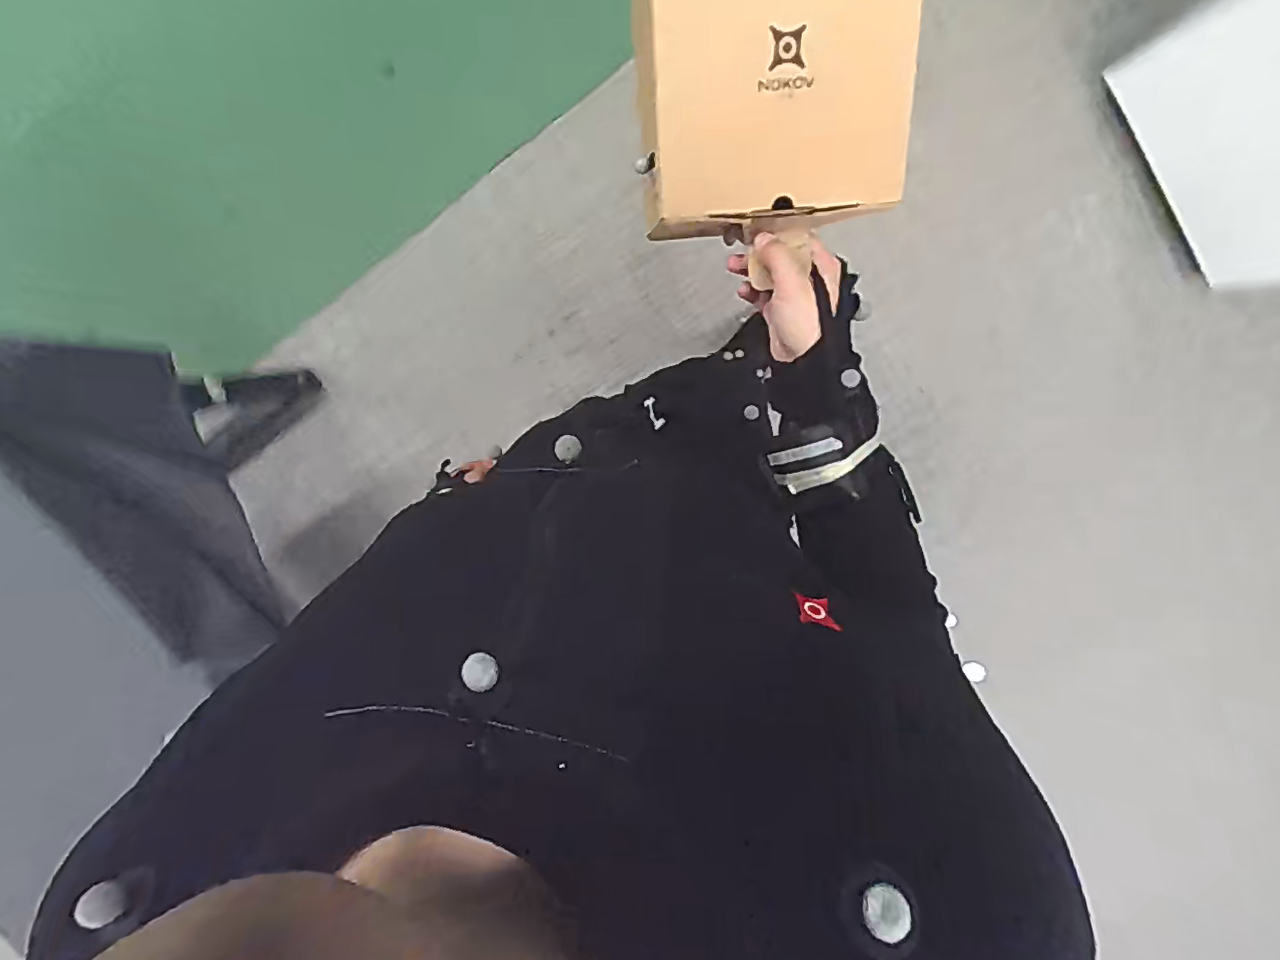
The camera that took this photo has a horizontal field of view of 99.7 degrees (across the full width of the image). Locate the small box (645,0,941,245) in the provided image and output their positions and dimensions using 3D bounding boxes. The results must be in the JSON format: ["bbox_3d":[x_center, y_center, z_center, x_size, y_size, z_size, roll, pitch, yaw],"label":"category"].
[{"bbox_3d":[0.095,-0.281,0.408,0.168,0.176,0.179,-5,112,-2],"label":"small box"}]
